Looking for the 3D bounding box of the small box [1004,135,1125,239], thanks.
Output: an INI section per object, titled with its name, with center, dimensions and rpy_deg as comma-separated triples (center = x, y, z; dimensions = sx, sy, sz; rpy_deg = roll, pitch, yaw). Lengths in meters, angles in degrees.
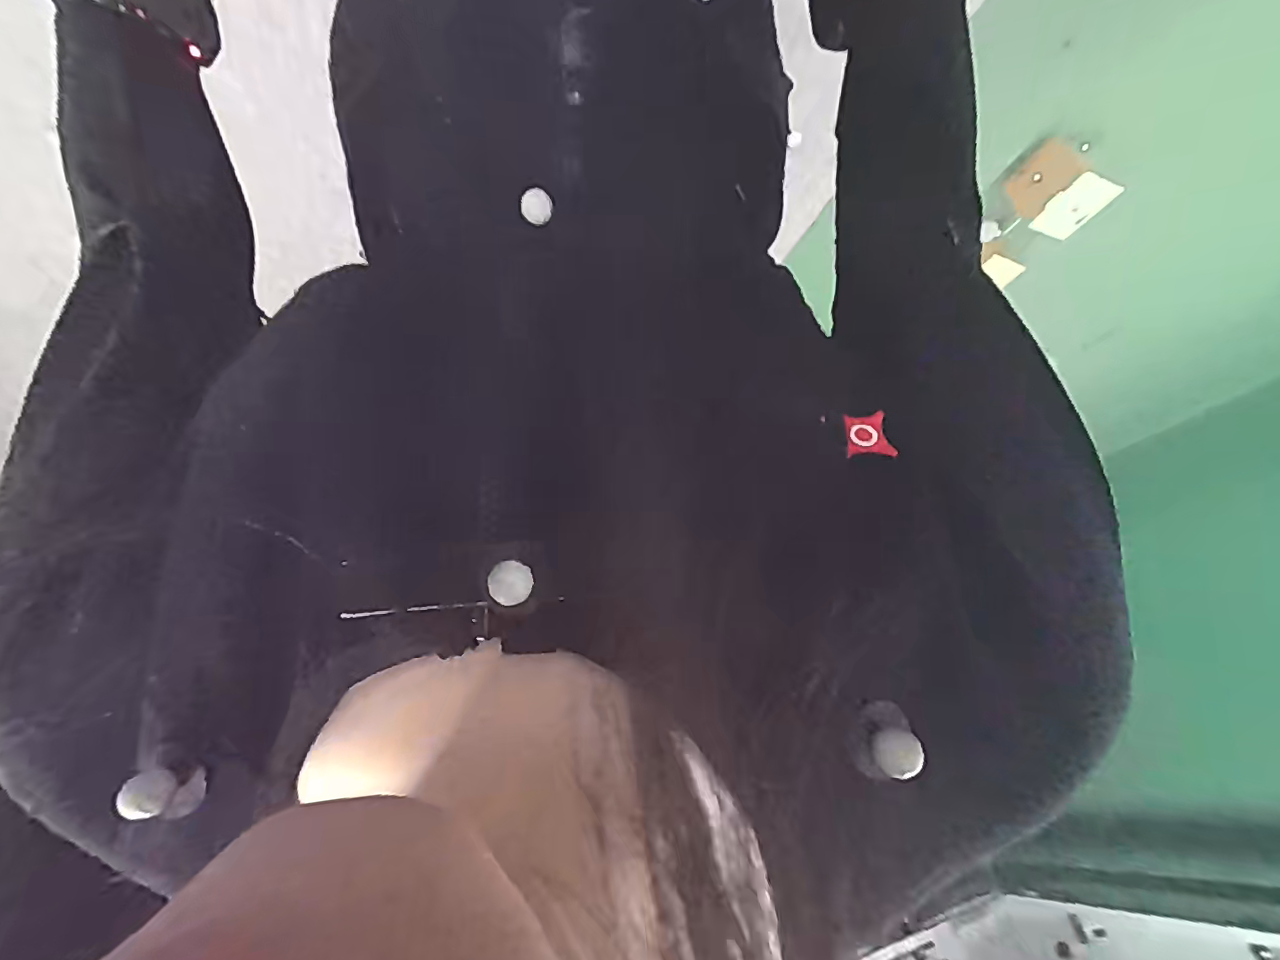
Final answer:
[small box]
center = 1.153, -0.804, 1.482
dimensions = 0.179, 0.176, 0.168
rpy_deg = 4, 151, -24
